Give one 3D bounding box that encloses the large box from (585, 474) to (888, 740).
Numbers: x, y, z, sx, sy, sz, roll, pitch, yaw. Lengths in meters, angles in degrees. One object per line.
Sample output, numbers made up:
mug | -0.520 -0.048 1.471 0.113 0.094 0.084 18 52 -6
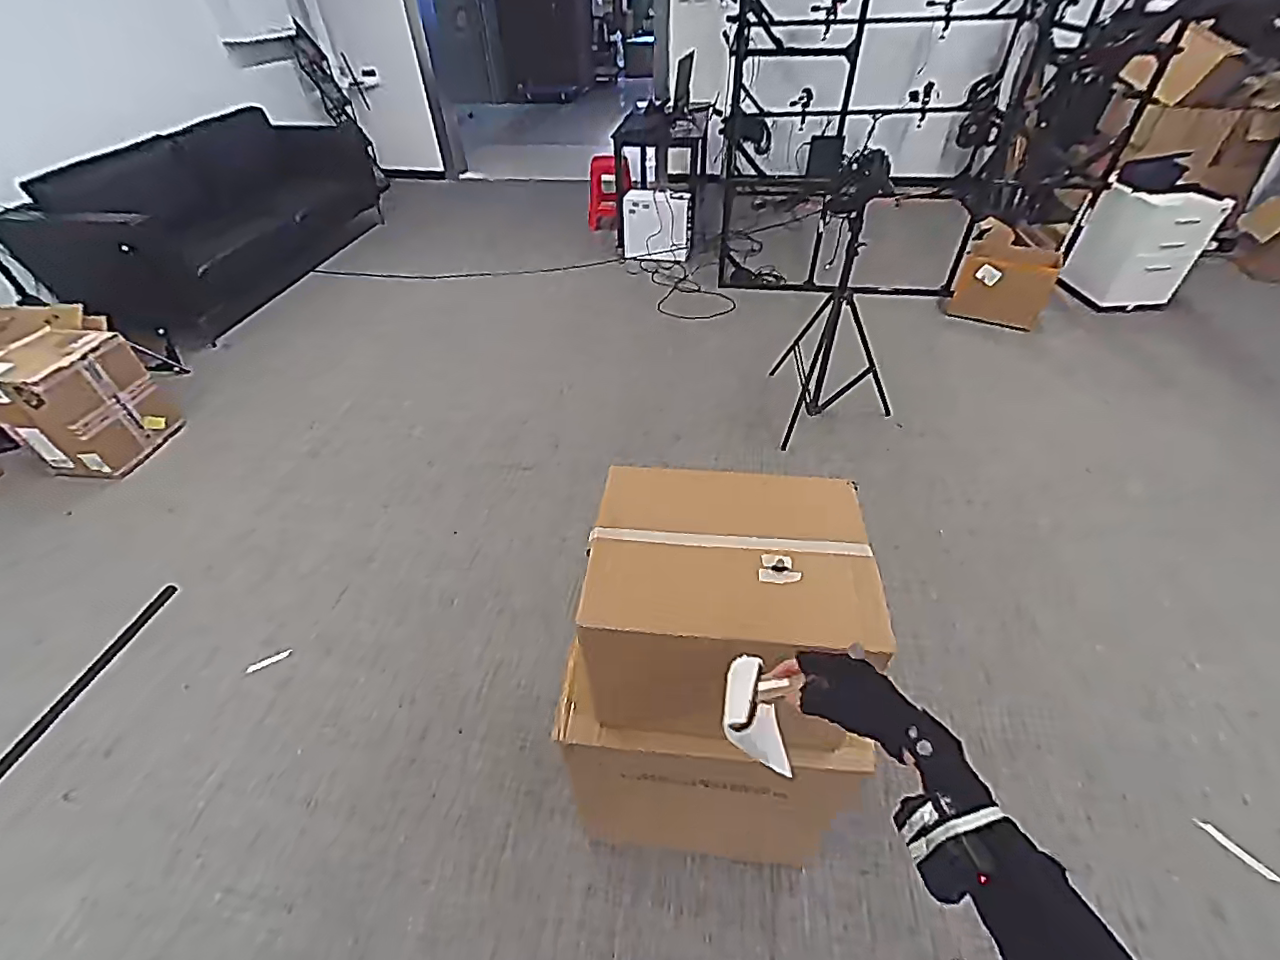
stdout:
large box | 0.136 0.211 0.914 0.408 0.320 0.320 4 44 5
